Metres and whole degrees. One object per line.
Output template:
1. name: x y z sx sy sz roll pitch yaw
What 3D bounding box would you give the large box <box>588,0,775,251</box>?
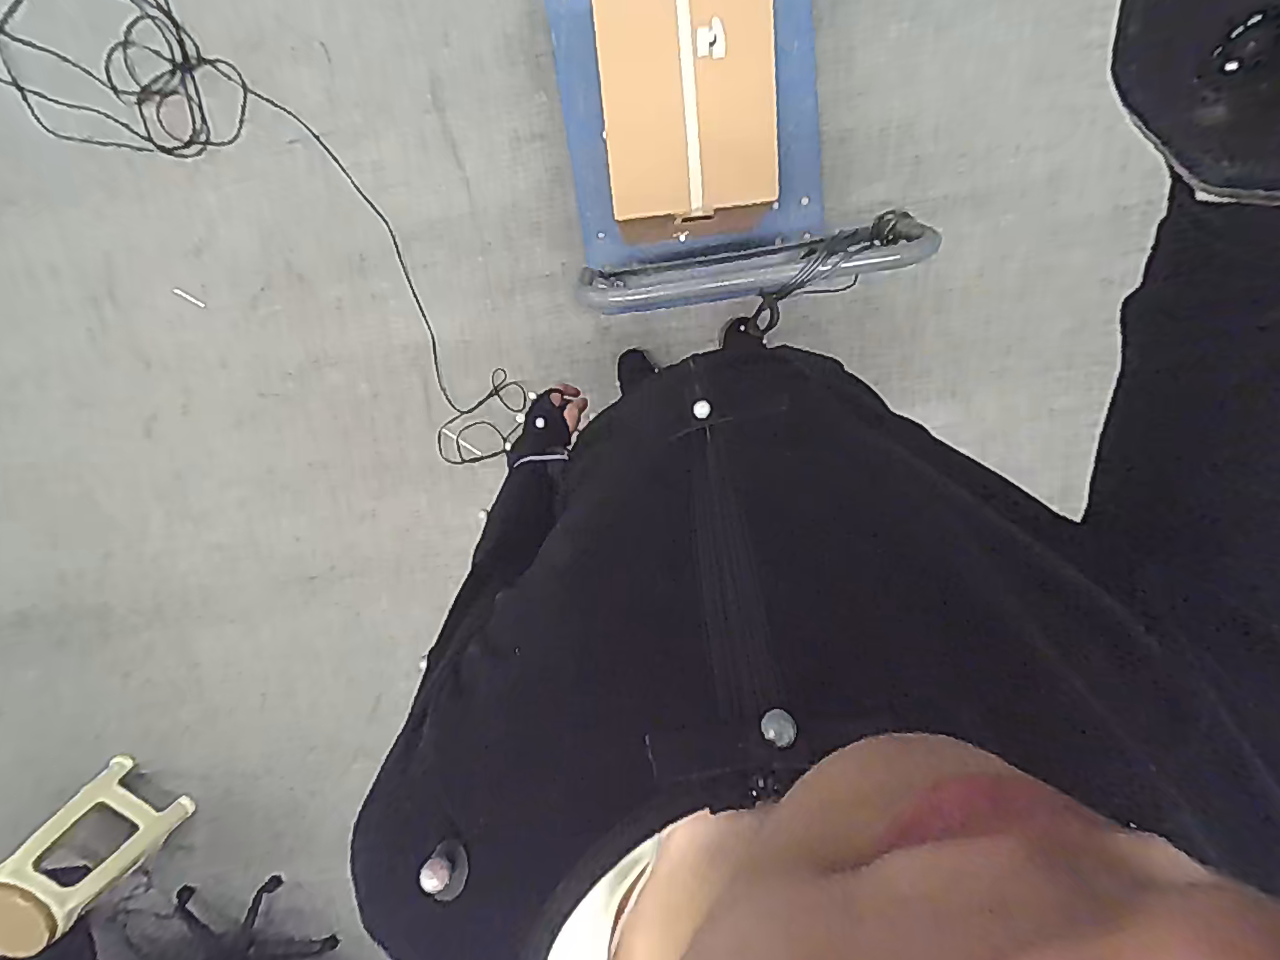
1. large box: 0.089 -0.731 1.126 0.320 0.320 0.408 -5 104 4
